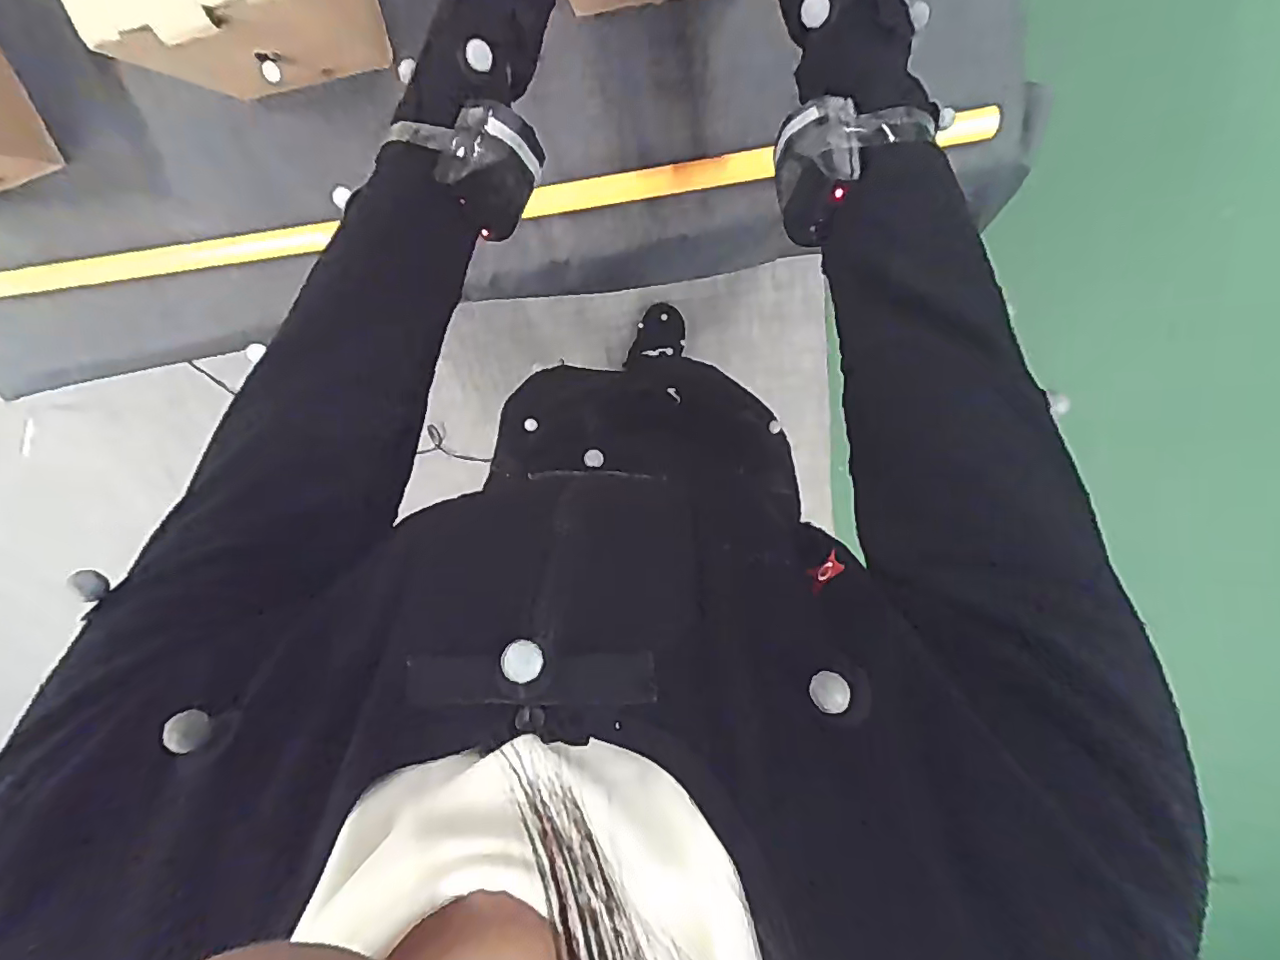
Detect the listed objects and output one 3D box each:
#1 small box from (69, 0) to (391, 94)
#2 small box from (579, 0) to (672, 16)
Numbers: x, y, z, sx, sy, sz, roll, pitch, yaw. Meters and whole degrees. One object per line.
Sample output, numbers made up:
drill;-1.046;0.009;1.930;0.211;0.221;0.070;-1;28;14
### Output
small box;-0.335;-0.438;0.430;0.168;0.176;0.179;-10;111;10
small box;0.005;-0.480;0.382;0.168;0.176;0.179;-6;114;7
